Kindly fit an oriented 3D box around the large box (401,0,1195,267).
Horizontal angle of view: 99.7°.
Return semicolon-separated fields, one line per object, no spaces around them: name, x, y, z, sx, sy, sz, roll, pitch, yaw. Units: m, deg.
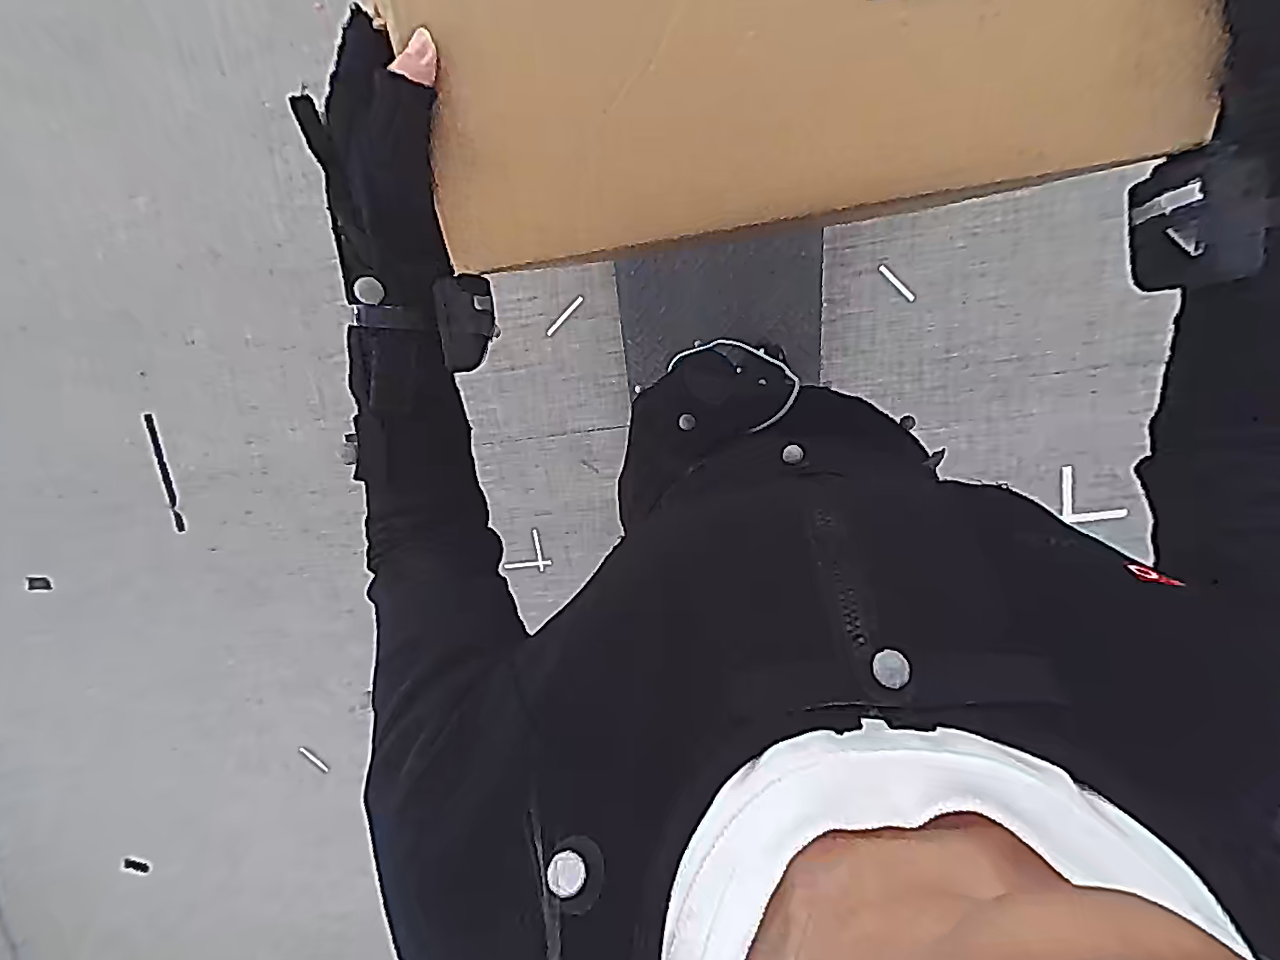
large box;0.073;-0.355;0.397;0.408;0.320;0.320;-7;112;8
